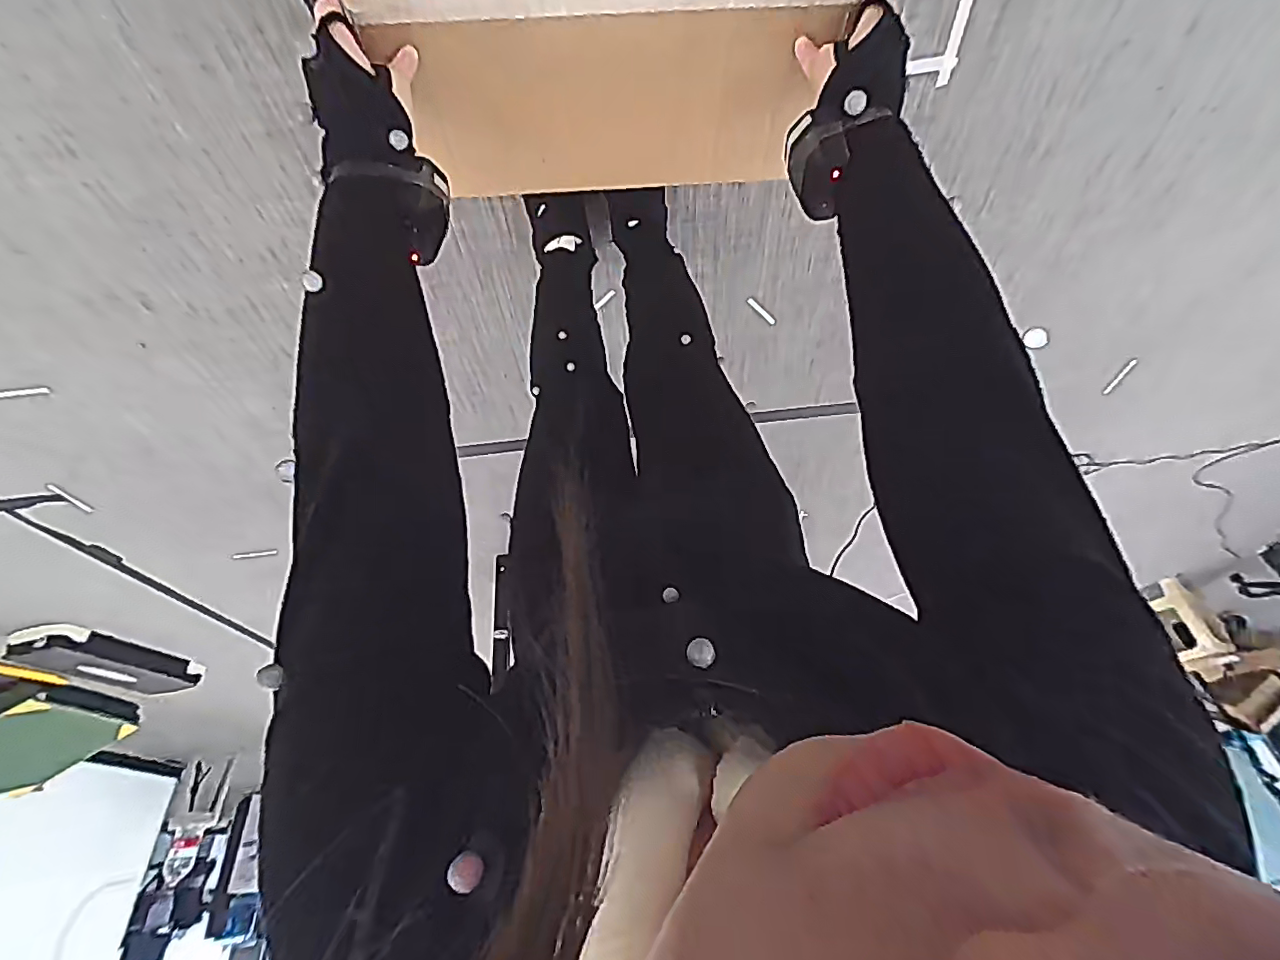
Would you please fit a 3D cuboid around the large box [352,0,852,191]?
[{"bbox_3d":[-0.035,-0.511,0.494,0.408,0.320,0.320,-4,148,-2],"label":"large box"}]
